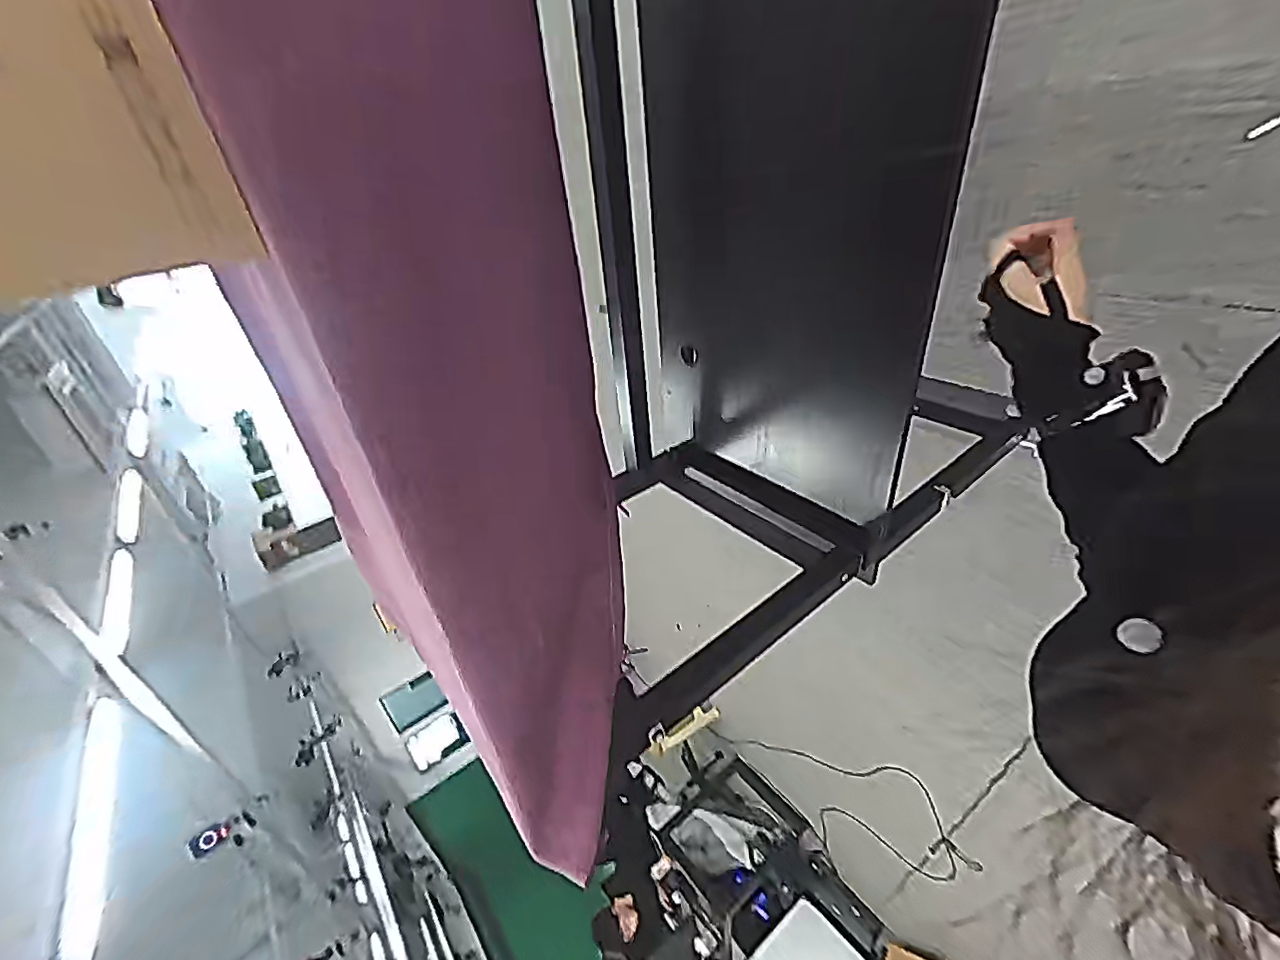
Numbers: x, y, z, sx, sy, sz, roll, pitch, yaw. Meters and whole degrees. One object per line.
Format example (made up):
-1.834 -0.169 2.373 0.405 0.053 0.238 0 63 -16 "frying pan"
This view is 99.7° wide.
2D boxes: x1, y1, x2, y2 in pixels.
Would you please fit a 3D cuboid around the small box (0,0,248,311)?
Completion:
-0.363 -0.200 0.317 0.179 0.176 0.168 28 136 47 "small box"
